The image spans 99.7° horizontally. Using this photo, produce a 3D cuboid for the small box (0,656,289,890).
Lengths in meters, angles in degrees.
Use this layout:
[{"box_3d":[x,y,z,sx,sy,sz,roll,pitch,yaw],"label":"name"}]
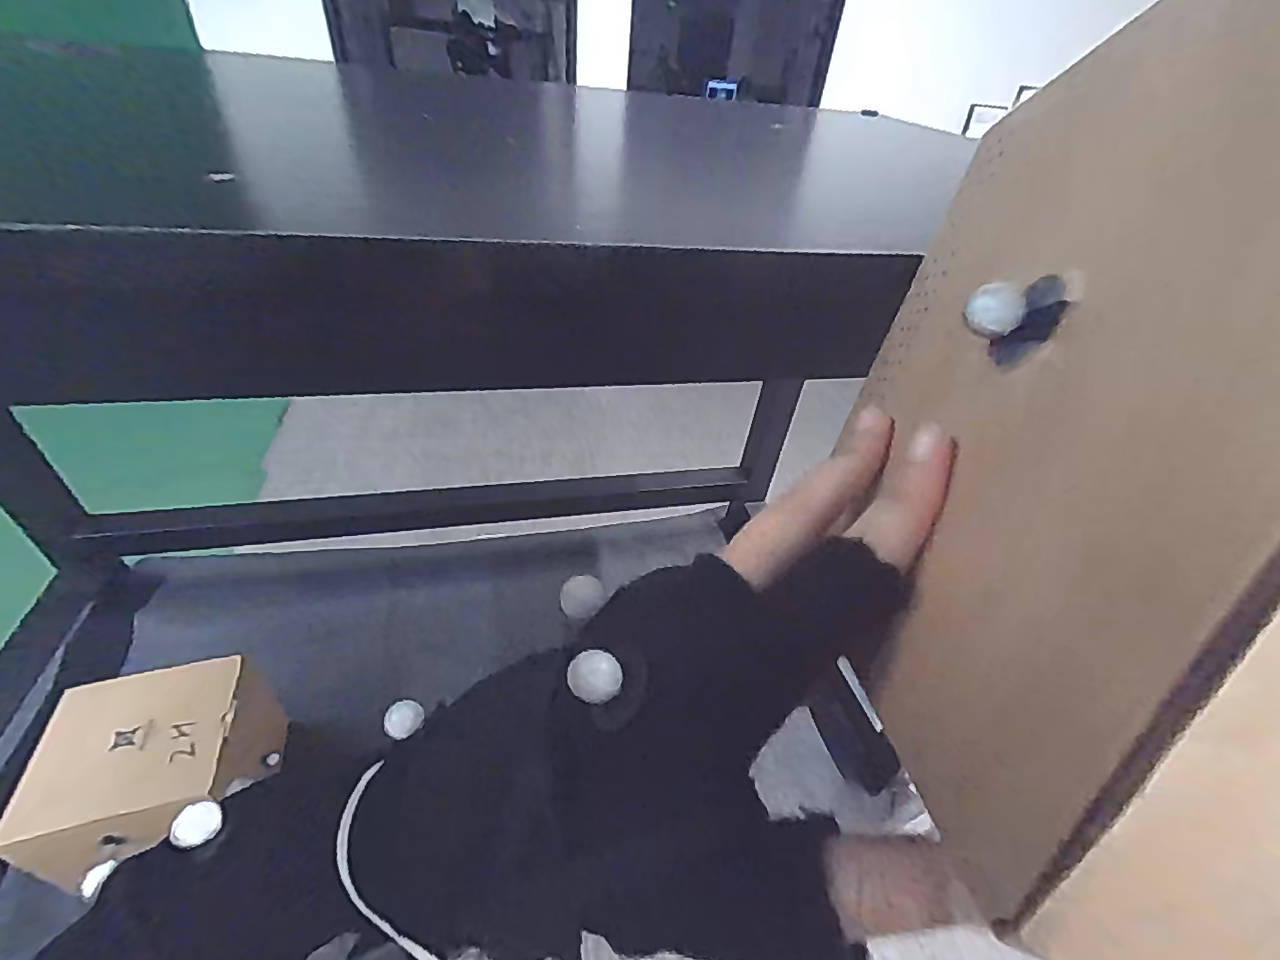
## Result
[{"box_3d":[-0.545,0.339,0.630,0.179,0.176,0.168,-7,41,-17],"label":"small box"}]
